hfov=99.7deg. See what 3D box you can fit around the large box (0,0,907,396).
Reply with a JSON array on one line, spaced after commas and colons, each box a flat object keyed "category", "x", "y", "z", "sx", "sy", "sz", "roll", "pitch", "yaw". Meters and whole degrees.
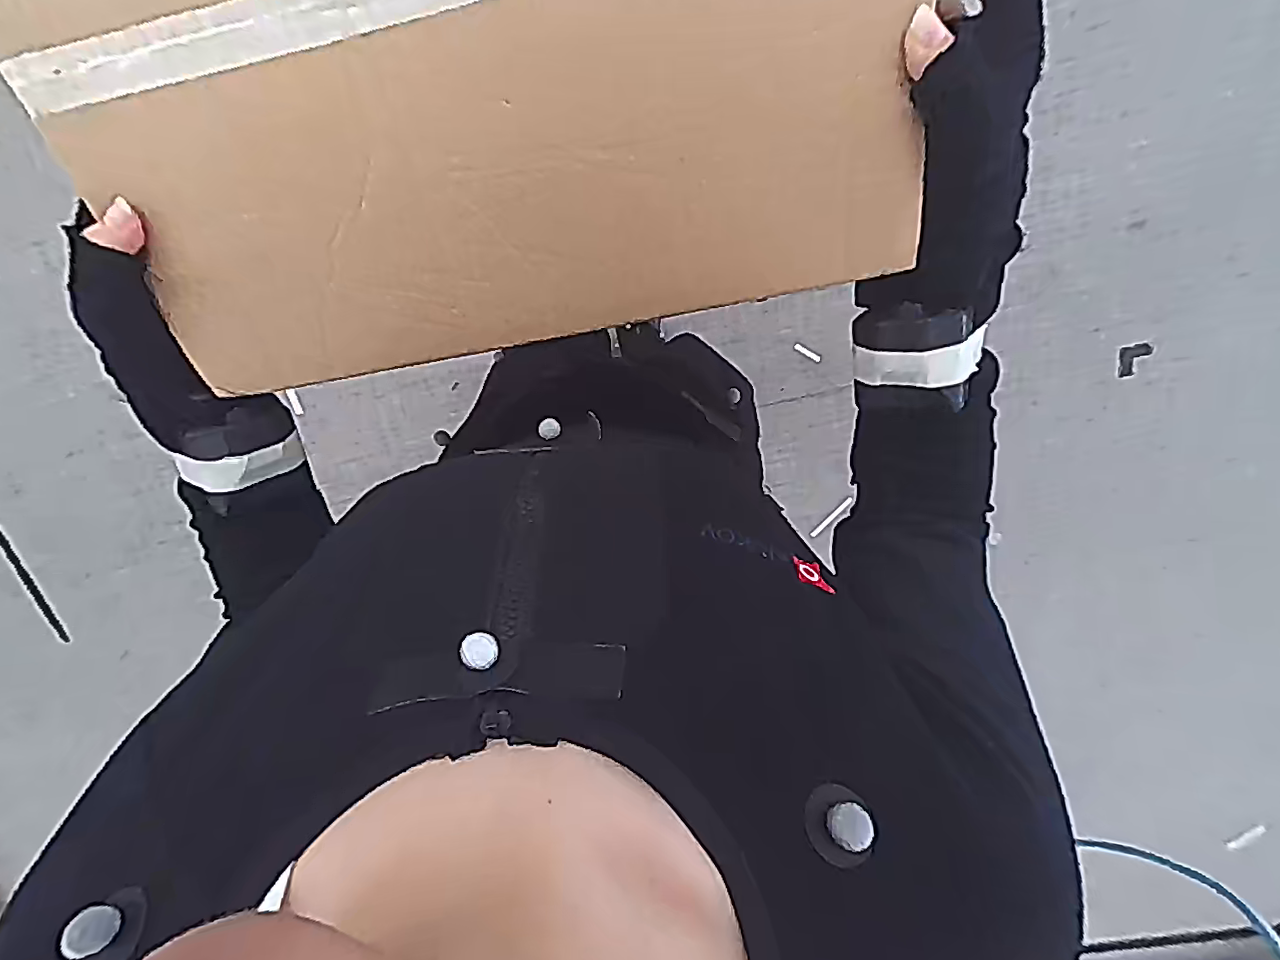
[{"category": "large box", "x": -0.082, "y": -0.292, "z": 0.361, "sx": 0.408, "sy": 0.320, "sz": 0.320, "roll": -9, "pitch": 121, "yaw": 7}]
